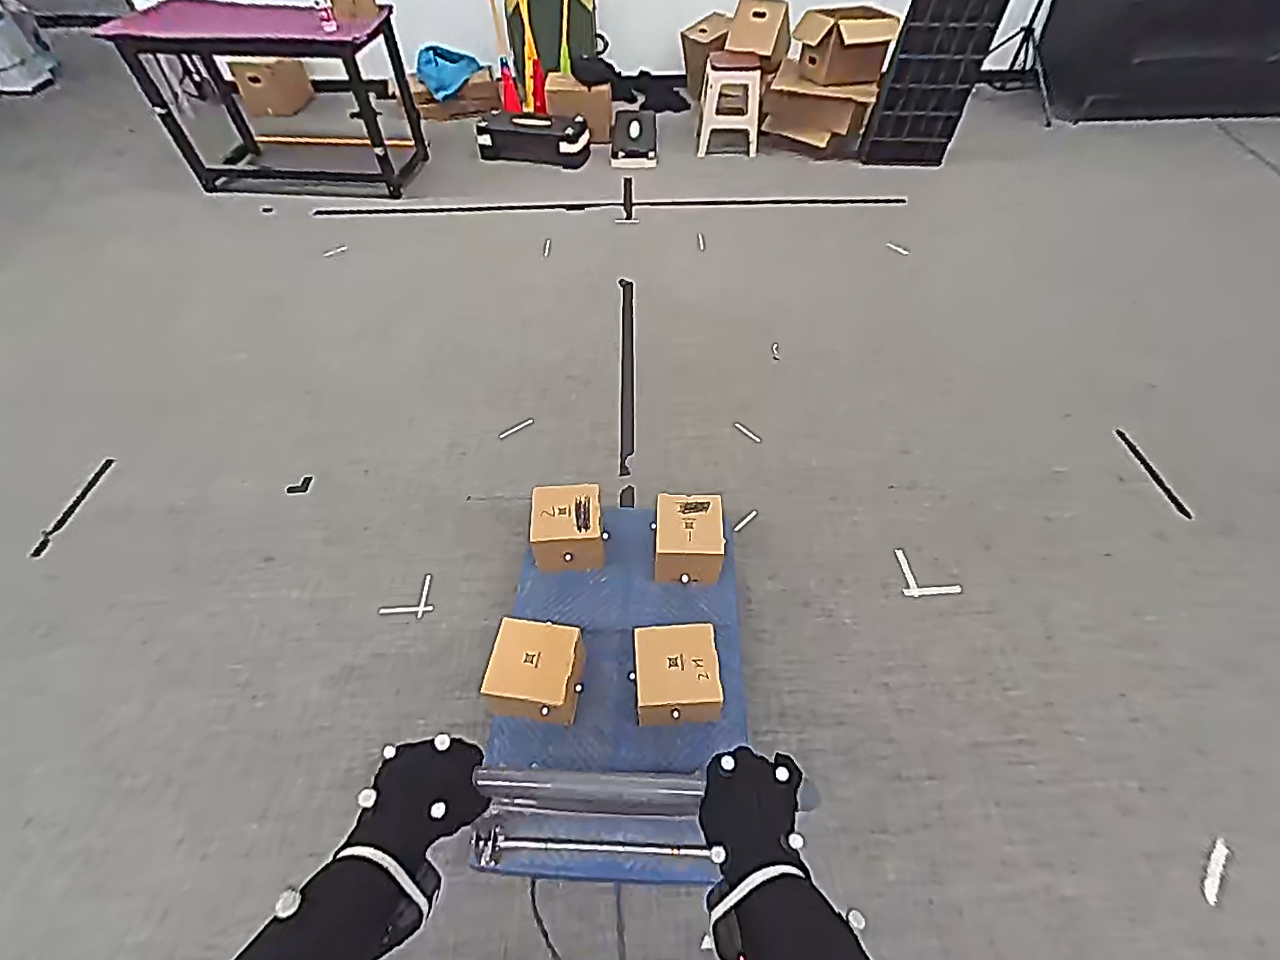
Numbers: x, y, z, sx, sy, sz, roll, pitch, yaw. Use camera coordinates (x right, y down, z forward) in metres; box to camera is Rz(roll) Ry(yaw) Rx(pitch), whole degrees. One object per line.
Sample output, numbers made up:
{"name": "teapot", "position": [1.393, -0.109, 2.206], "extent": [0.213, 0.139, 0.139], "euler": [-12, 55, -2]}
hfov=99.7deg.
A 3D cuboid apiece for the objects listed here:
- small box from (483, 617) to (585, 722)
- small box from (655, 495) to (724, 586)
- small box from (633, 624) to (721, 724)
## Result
{"name": "small box", "position": [-0.229, 0.429, 1.215], "extent": [0.179, 0.176, 0.168], "euler": [7, 52, 4]}
{"name": "small box", "position": [0.126, 0.159, 1.419], "extent": [0.168, 0.176, 0.179], "euler": [2, 54, 2]}
{"name": "small box", "position": [0.078, 0.436, 1.206], "extent": [0.179, 0.176, 0.168], "euler": [-2, 53, -1]}
